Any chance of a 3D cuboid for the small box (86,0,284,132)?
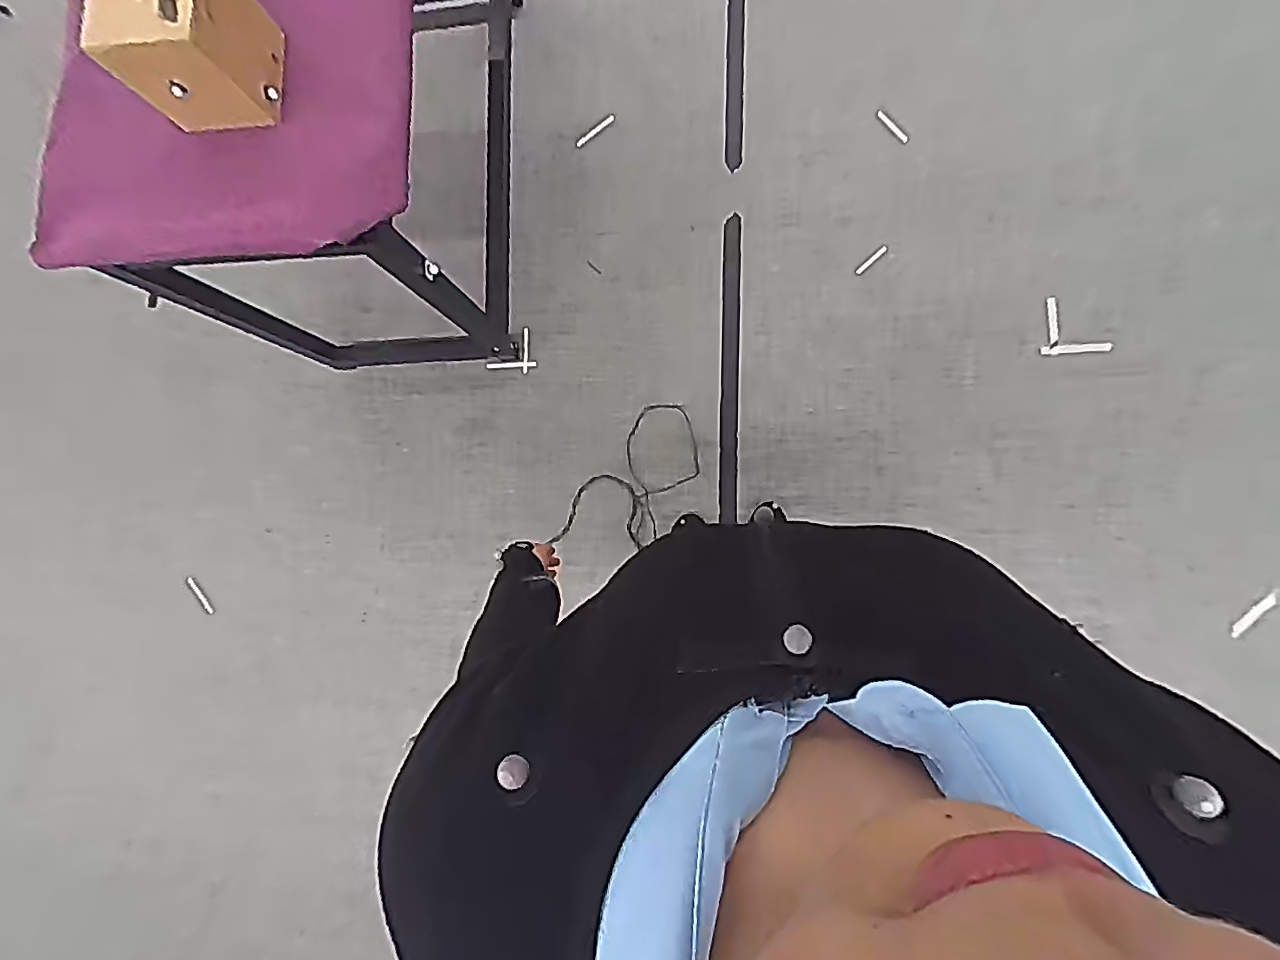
[{"bbox_3d":[-0.700,-0.685,0.851,0.179,0.176,0.168,0,85,6],"label":"small box"}]
